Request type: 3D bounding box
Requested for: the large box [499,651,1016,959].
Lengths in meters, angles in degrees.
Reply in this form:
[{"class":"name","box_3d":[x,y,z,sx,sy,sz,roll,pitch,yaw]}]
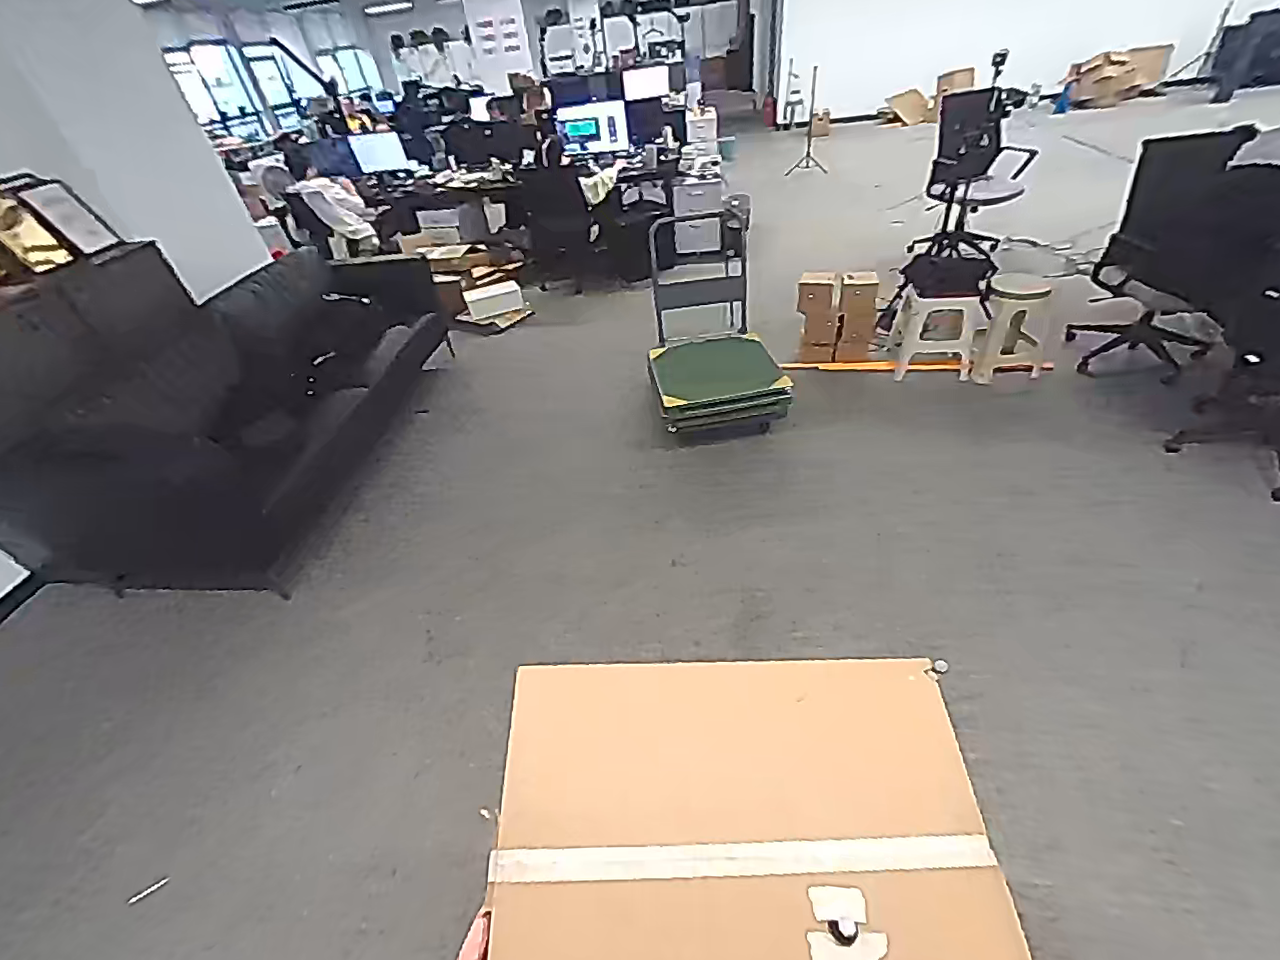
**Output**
[{"class":"large box","box_3d":[0.084,0.390,0.577,0.408,0.320,0.320,-1,56,-2]}]
